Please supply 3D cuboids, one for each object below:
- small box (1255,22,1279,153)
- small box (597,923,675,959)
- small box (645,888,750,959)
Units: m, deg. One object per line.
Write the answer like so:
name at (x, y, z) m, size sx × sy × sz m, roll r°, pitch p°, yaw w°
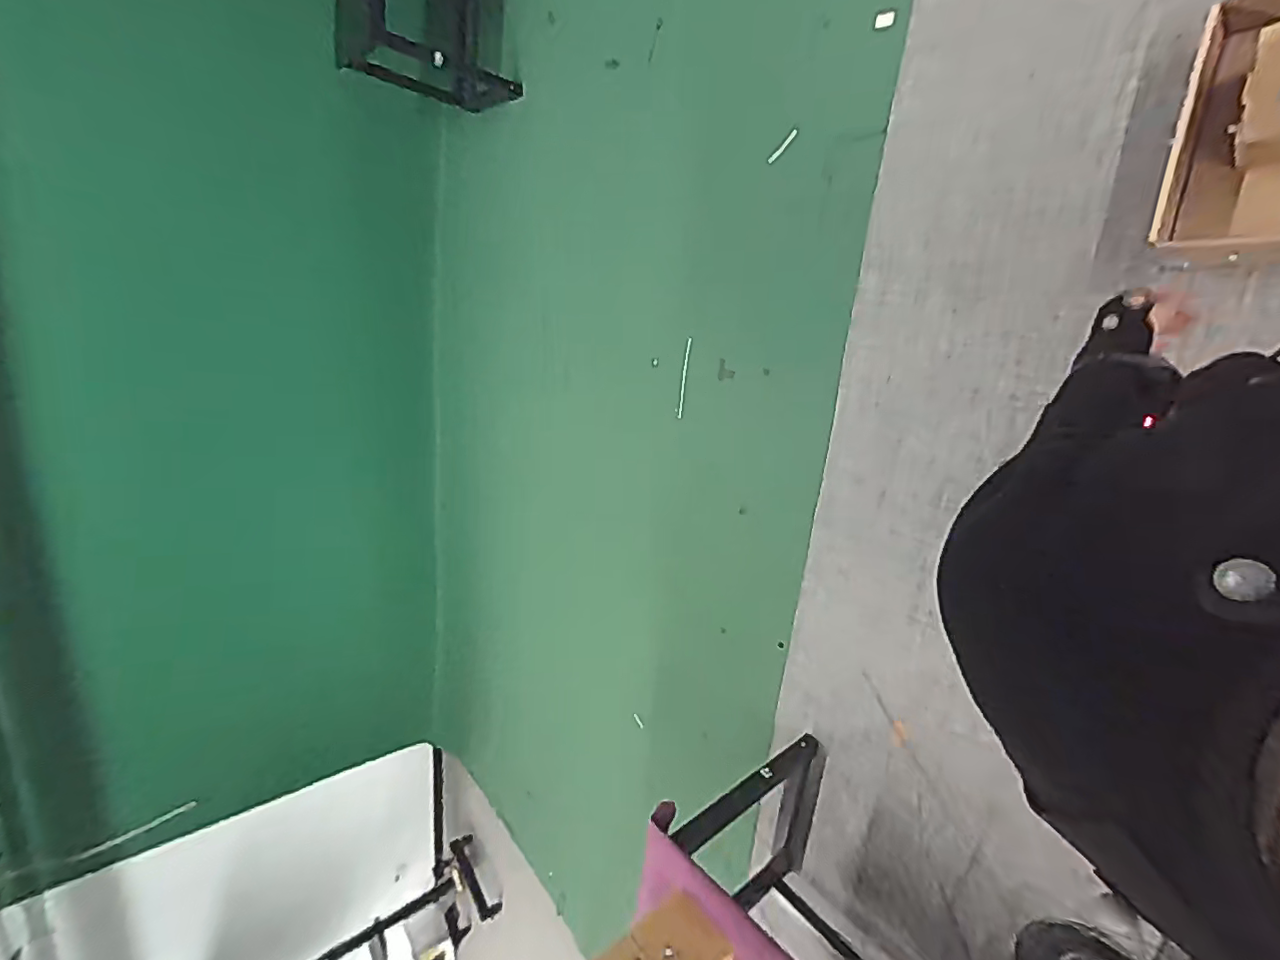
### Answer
small box at (1.097, -0.629, 0.830) m, size 0.179 × 0.176 × 0.168 m, roll 14°, pitch 109°, yaw 47°
small box at (-0.007, 1.091, 1.117) m, size 0.168 × 0.176 × 0.179 m, roll 21°, pitch 112°, yaw 45°
small box at (0.120, 1.074, 1.219) m, size 0.179 × 0.176 × 0.168 m, roll 20°, pitch 110°, yaw 46°
